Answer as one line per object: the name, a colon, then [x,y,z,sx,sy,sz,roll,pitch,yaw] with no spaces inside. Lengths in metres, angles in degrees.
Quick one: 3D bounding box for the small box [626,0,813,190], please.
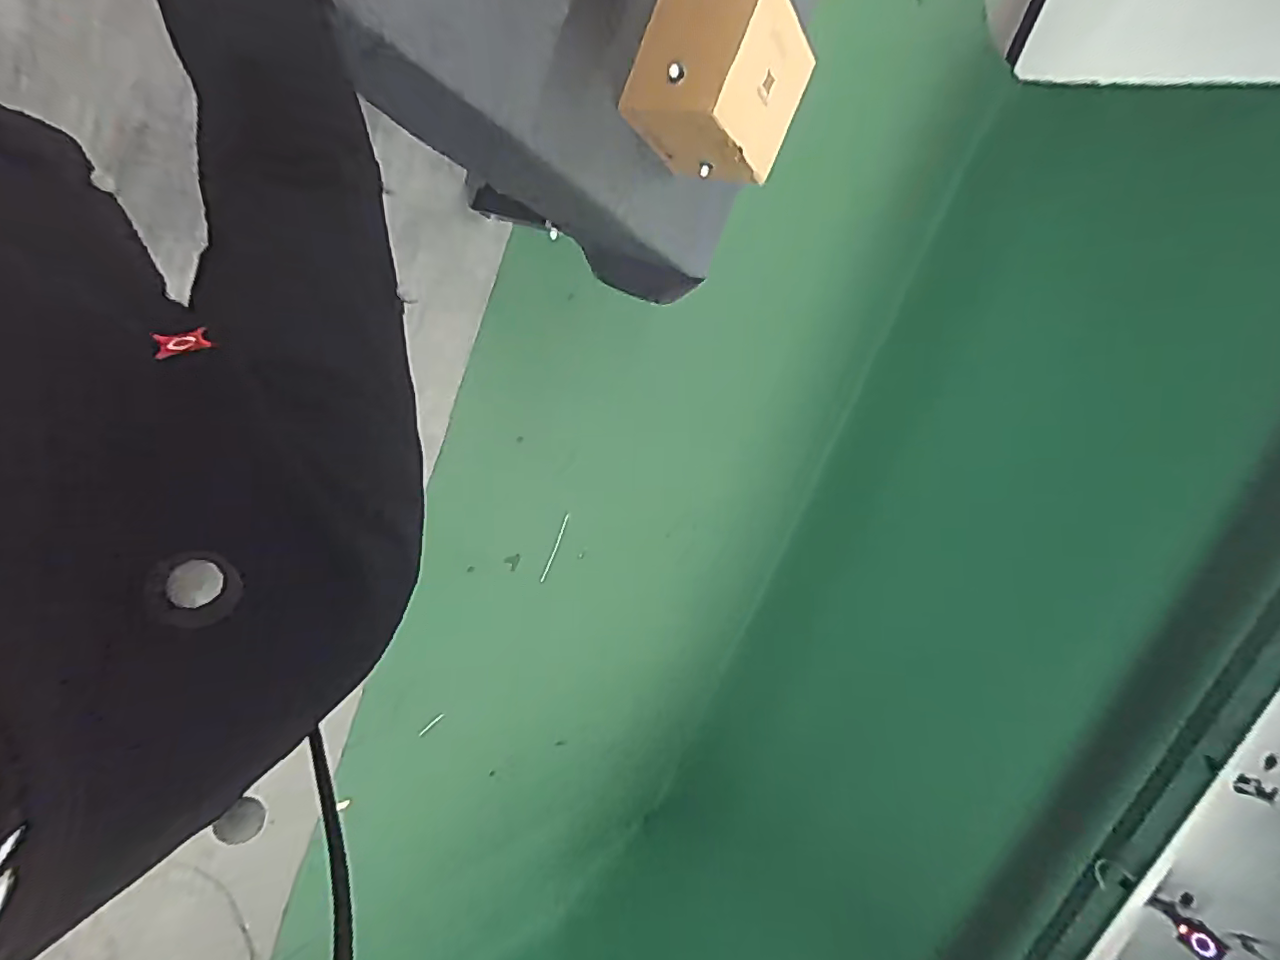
small box: [0.105,-0.533,0.743,0.168,0.176,0.179,9,105,-56]
